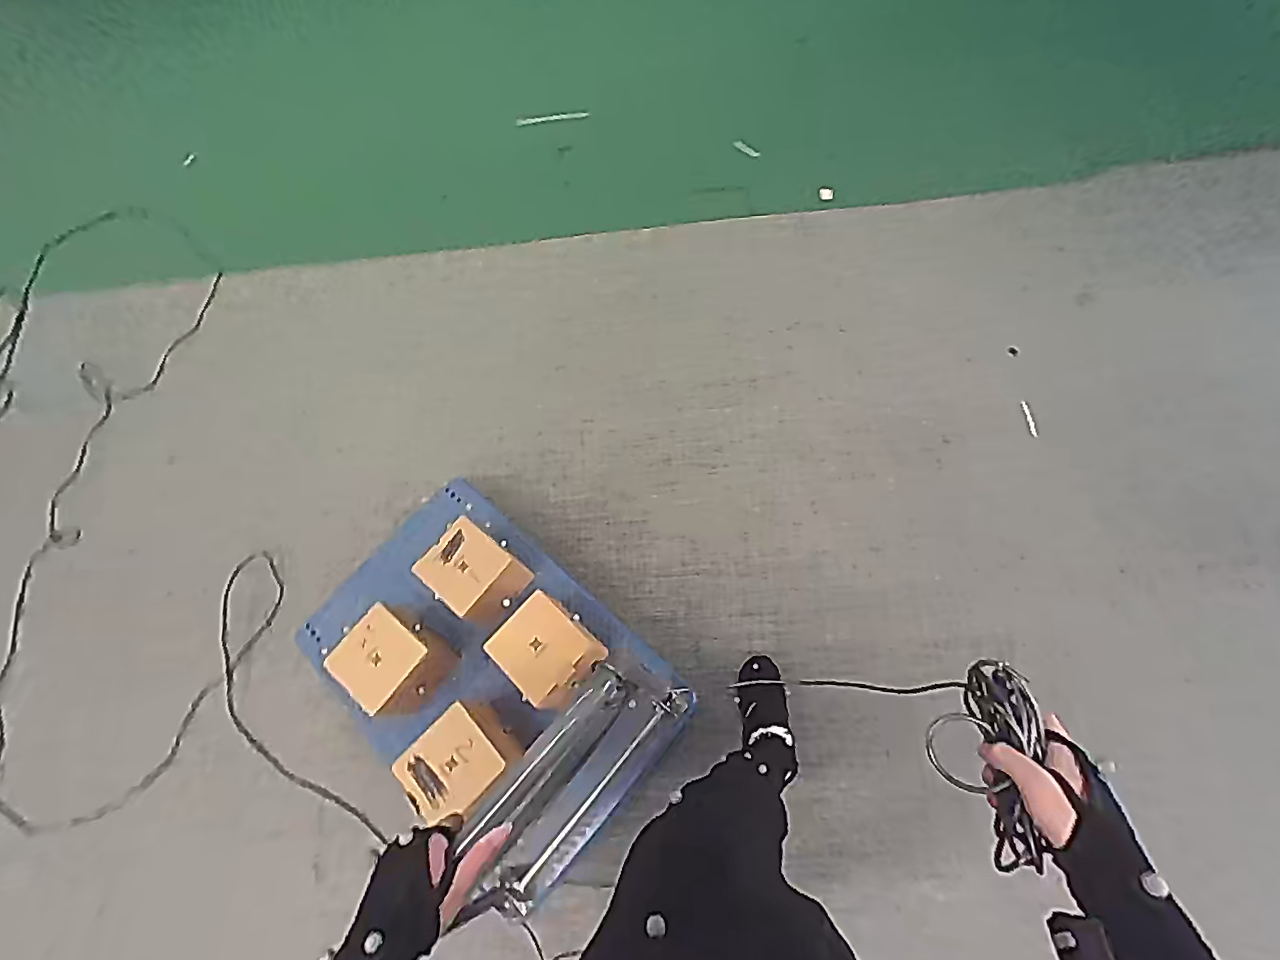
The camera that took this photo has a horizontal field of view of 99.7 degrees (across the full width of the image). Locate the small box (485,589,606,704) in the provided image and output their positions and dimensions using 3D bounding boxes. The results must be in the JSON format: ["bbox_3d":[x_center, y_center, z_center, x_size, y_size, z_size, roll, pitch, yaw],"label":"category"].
[{"bbox_3d":[-0.199,0.370,1.181,0.179,0.176,0.168,39,77,20],"label":"small box"}]

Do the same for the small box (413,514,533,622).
[{"bbox_3d":[-0.384,0.215,1.271,0.179,0.176,0.168,36,77,19],"label":"small box"}]

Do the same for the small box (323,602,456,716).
[{"bbox_3d":[-0.549,0.402,1.213,0.179,0.176,0.168,34,75,20],"label":"small box"}]
